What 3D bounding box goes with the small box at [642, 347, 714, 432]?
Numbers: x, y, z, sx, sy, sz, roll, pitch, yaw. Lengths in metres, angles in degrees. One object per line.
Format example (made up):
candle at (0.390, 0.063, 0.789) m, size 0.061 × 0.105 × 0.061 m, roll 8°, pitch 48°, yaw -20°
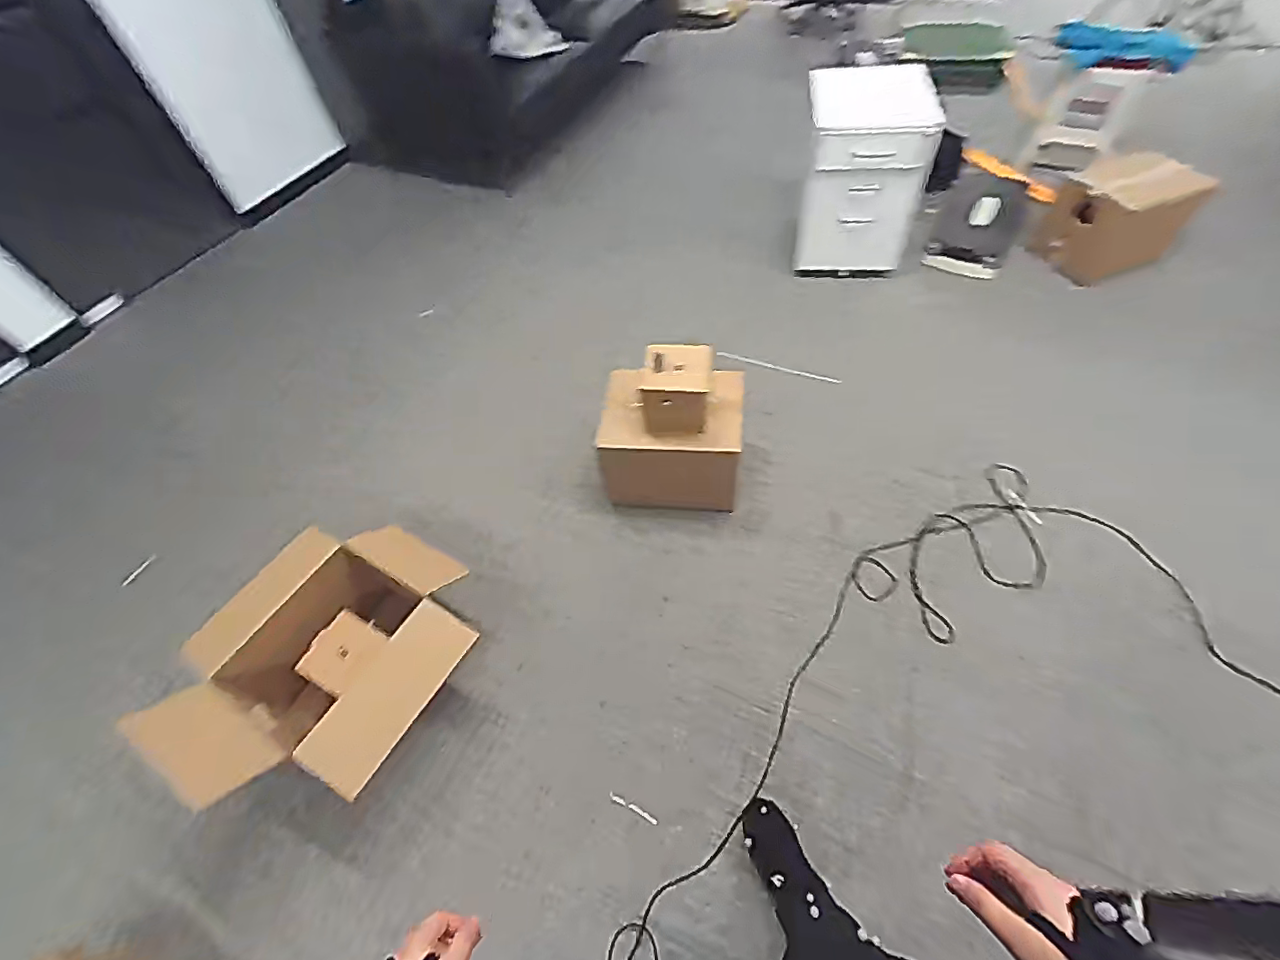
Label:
small box at (0.111, -0.246, 1.494) m, size 0.179 × 0.176 × 0.168 m, roll 4°, pitch 57°, yaw 9°
